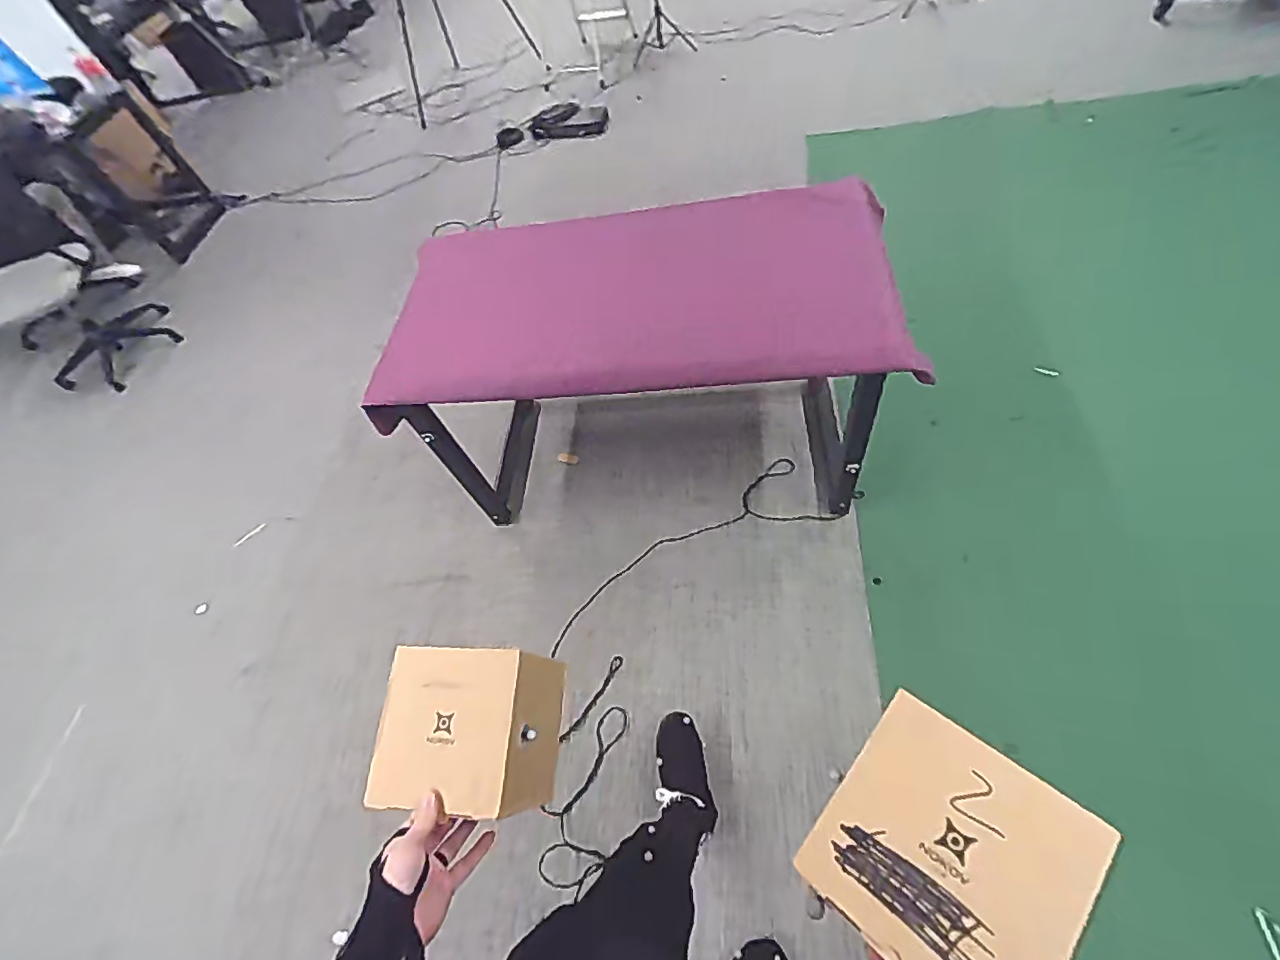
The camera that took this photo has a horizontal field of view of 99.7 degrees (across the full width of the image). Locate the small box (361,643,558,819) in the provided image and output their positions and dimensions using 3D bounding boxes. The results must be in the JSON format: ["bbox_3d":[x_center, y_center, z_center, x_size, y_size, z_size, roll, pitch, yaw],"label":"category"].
[{"bbox_3d":[-0.213,0.309,0.691,0.168,0.176,0.179,-1,67,11],"label":"small box"}]
